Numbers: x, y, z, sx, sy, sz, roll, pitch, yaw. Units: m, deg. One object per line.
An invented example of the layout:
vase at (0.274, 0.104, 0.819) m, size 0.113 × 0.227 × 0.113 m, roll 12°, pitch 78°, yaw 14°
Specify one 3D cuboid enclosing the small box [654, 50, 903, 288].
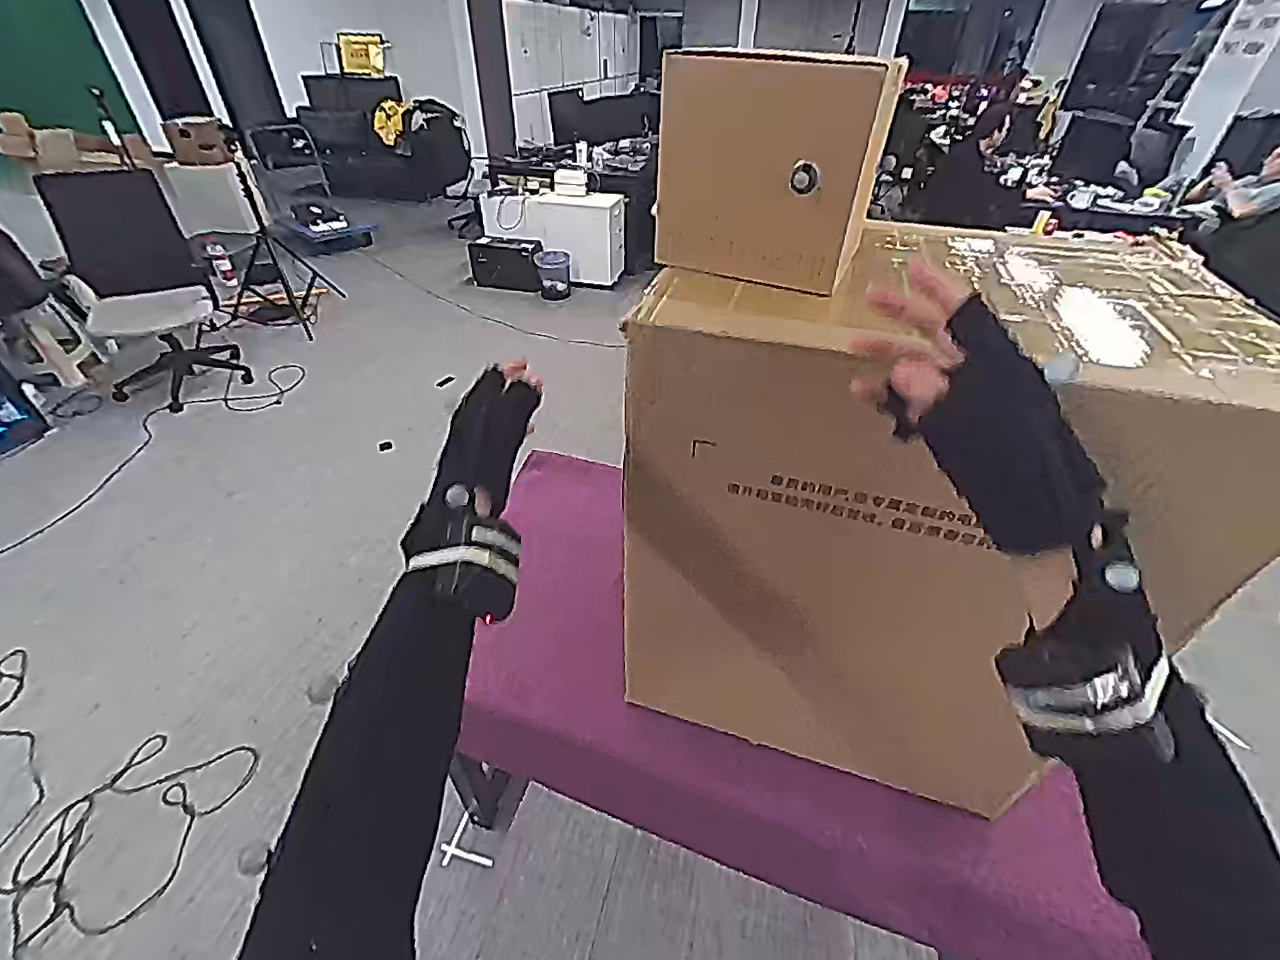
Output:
small box at (0.124, -0.295, 0.511) m, size 0.179 × 0.176 × 0.168 m, roll 17°, pitch 41°, yaw 18°
